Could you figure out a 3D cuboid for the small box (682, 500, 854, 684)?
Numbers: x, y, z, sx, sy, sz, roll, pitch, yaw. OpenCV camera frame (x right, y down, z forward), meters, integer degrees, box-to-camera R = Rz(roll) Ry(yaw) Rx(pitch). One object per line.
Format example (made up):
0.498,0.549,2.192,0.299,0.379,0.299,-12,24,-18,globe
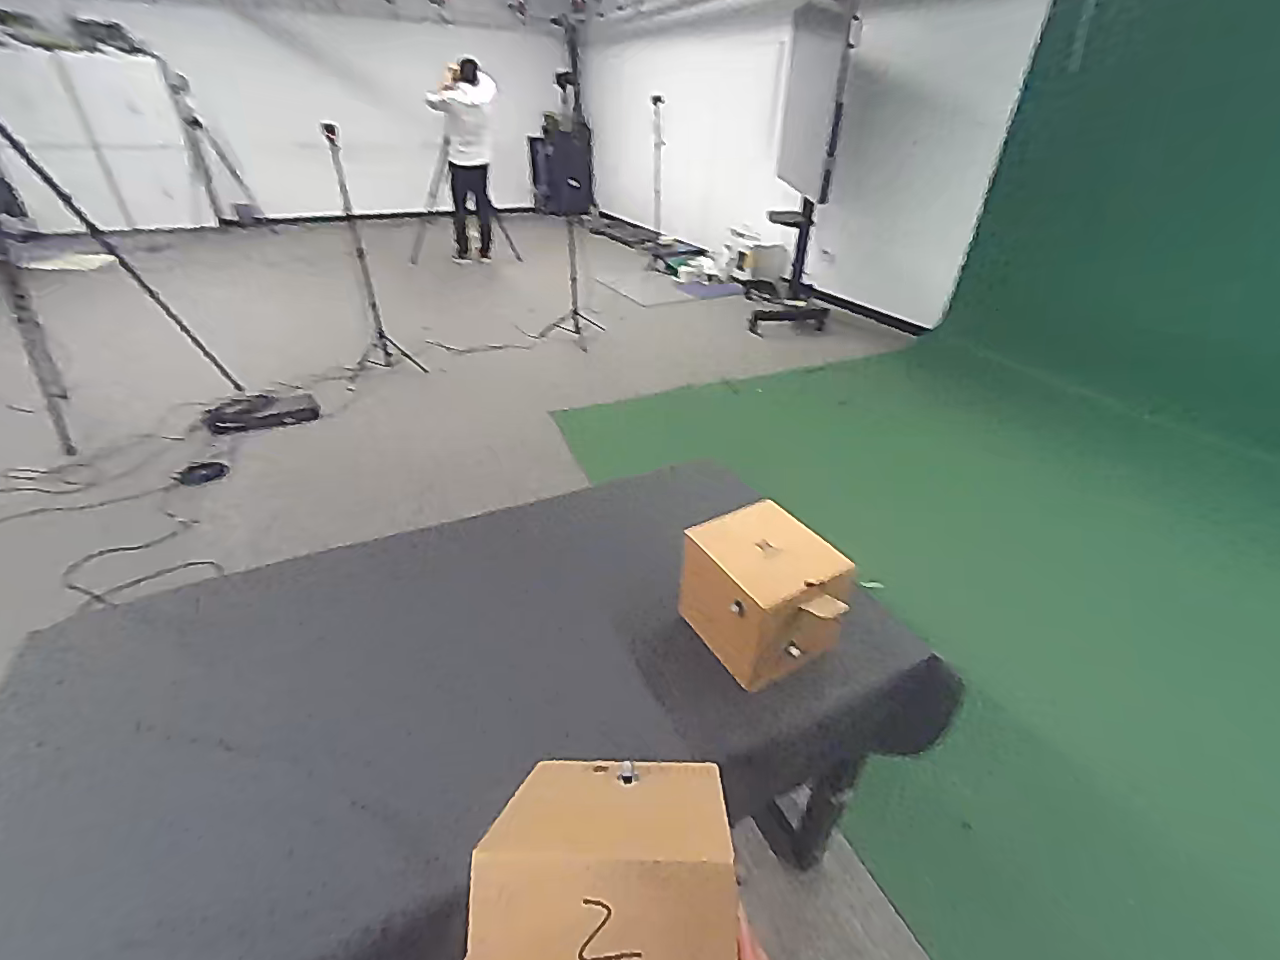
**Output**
0.175,0.160,0.799,0.168,0.176,0.179,-18,39,-26,small box
